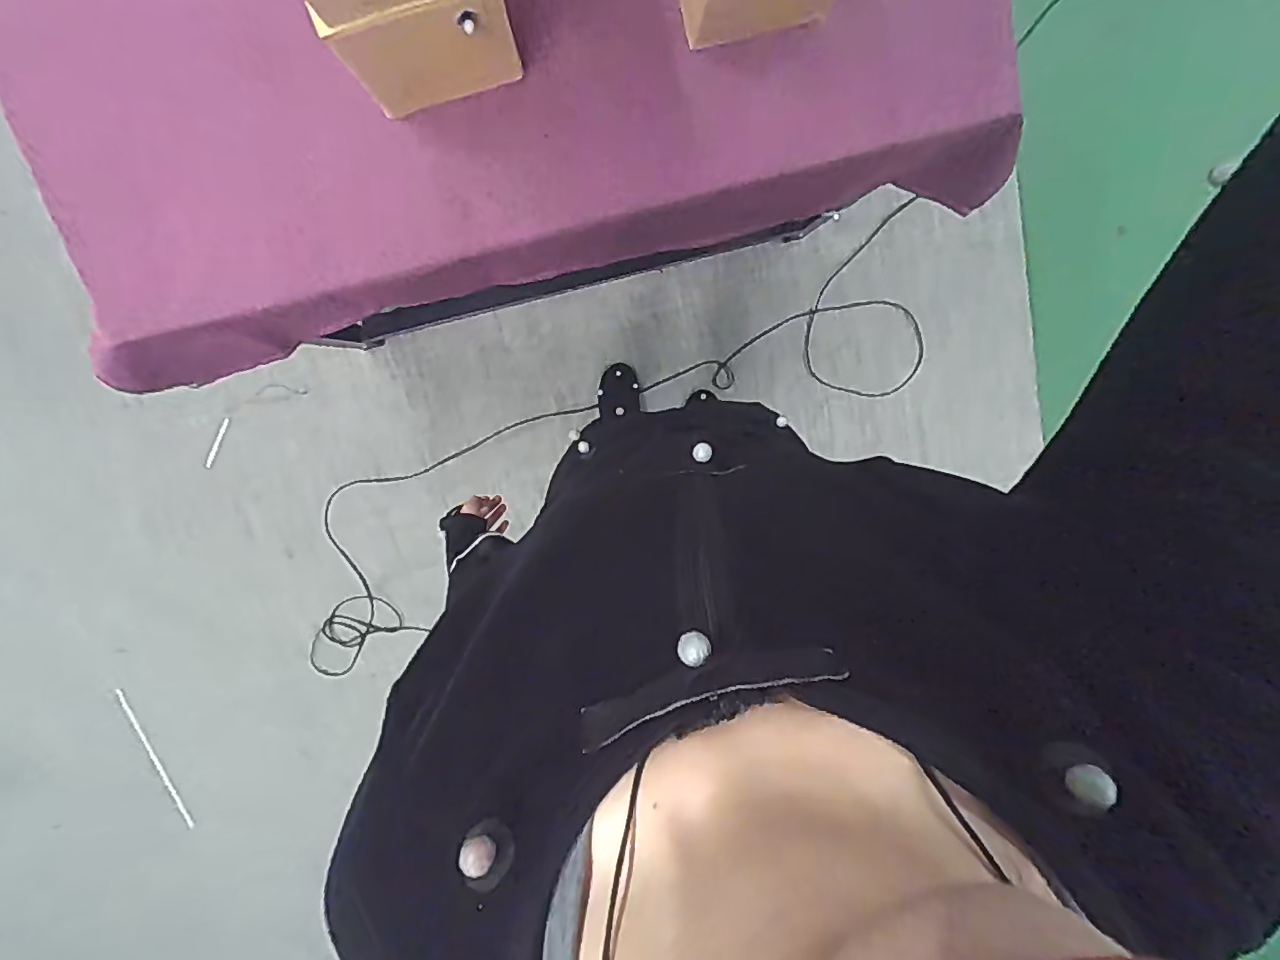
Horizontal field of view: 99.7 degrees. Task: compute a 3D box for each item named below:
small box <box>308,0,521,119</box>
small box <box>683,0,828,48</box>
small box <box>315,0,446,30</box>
[{"bbox_3d":[-0.242,-0.522,0.569,0.179,0.176,0.168,-19,101,-1],"label":"small box"},{"bbox_3d":[0.132,-0.608,0.576,0.179,0.176,0.168,-15,102,-1],"label":"small box"},{"bbox_3d":[-0.229,-0.502,0.405,0.168,0.176,0.179,-19,101,0],"label":"small box"}]
